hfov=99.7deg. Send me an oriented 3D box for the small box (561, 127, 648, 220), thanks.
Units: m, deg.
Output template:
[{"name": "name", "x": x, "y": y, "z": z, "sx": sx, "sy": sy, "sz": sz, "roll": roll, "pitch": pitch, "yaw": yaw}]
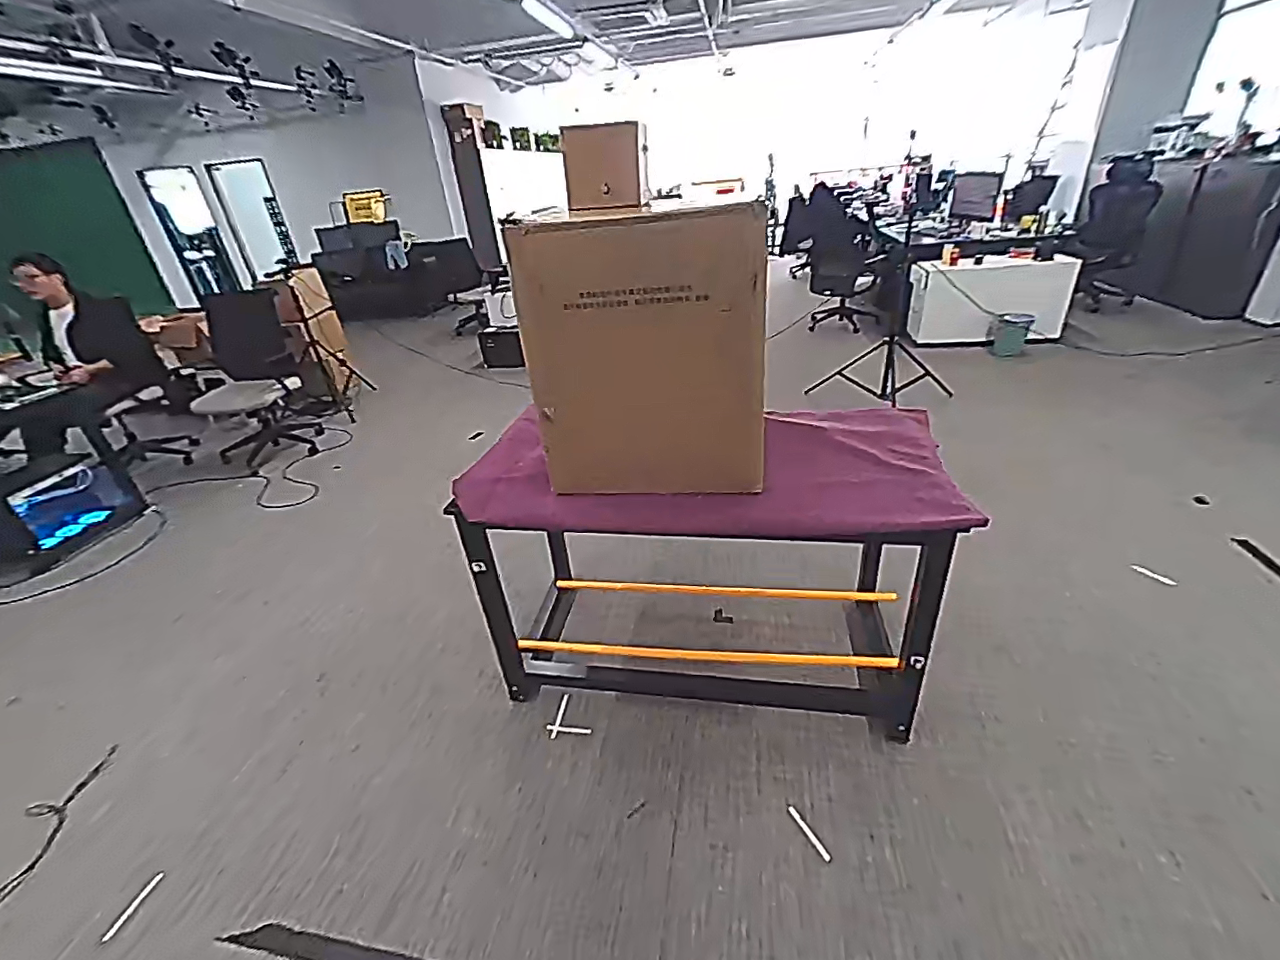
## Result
[{"name": "small box", "x": -0.080, "y": -0.712, "z": 1.262, "sx": 0.179, "sy": 0.176, "sz": 0.168, "roll": 1, "pitch": 30, "yaw": 10}]
